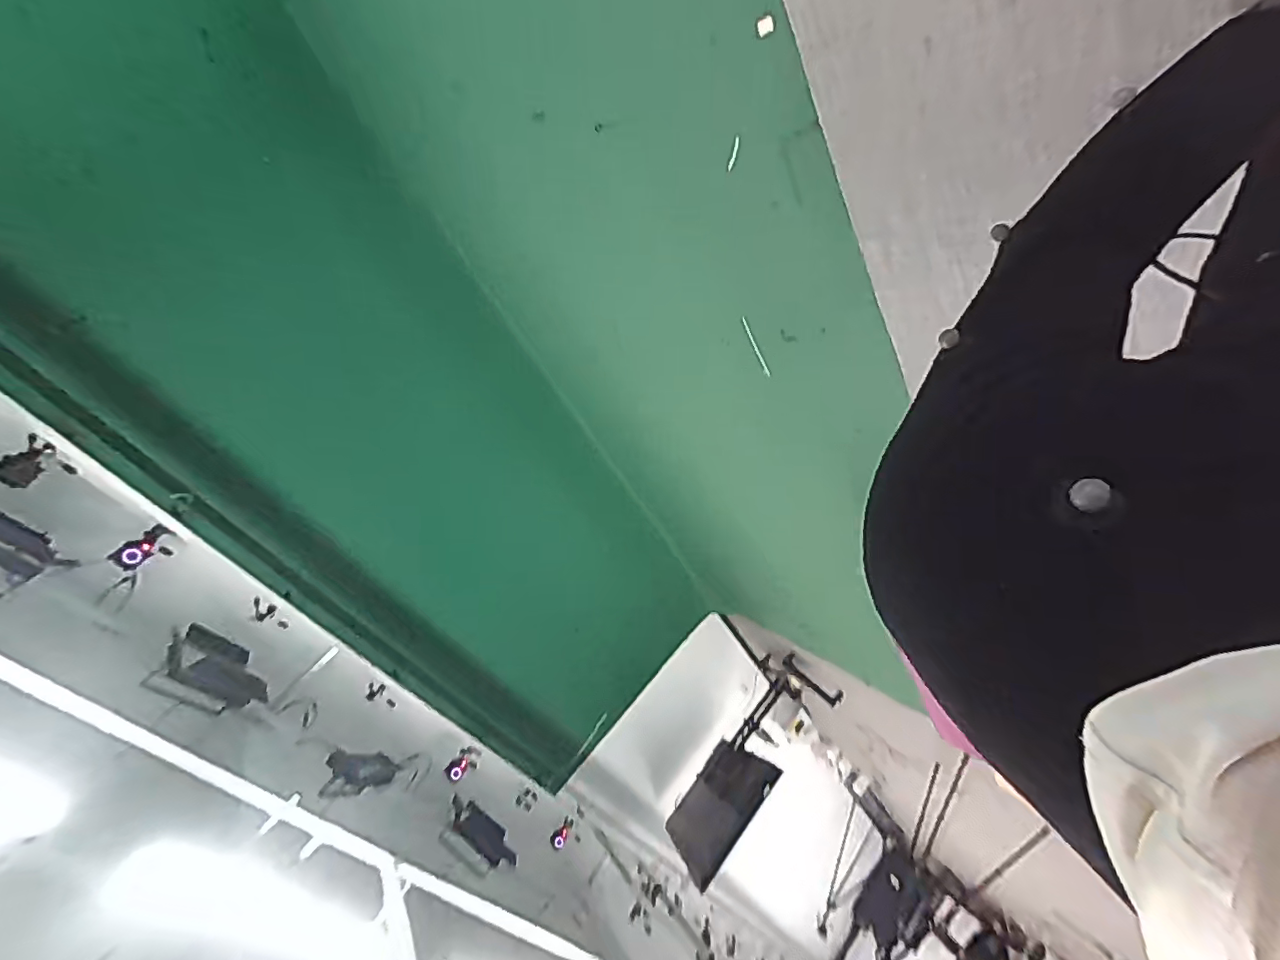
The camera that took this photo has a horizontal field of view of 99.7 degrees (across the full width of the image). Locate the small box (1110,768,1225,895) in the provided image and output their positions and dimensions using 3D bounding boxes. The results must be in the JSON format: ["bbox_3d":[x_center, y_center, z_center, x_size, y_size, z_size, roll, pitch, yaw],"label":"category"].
[{"bbox_3d":[1.318,0.869,1.349,0.168,0.176,0.179,17,147,56],"label":"small box"}]

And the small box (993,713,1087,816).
[{"bbox_3d":[1.172,0.826,1.580,0.168,0.176,0.179,18,150,54],"label":"small box"}]
